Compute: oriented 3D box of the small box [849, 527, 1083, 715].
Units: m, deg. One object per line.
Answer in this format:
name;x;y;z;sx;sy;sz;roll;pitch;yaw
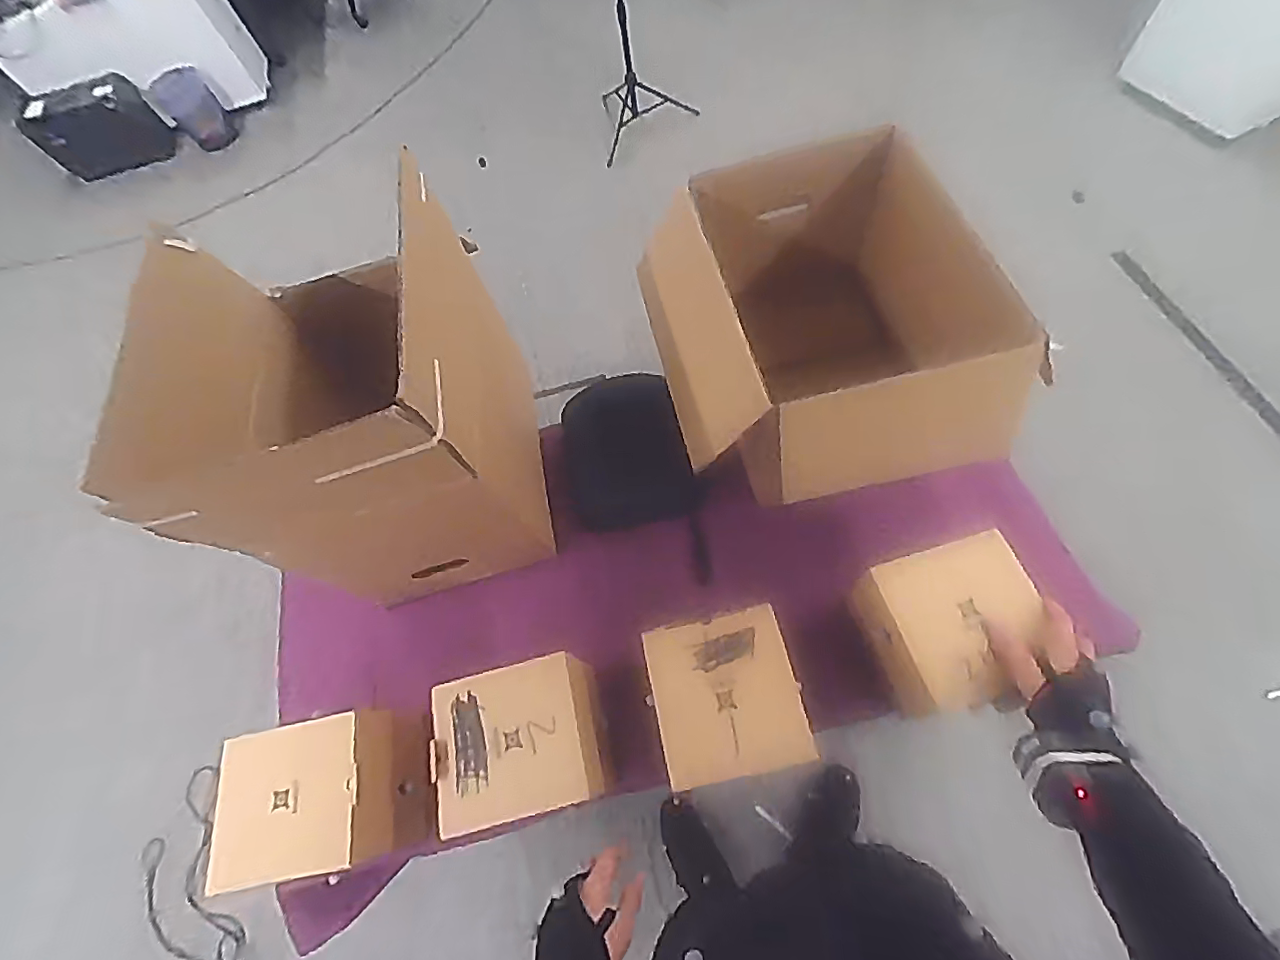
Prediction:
small box;0.390;0.187;0.692;0.168;0.176;0.179;-18;64;1
